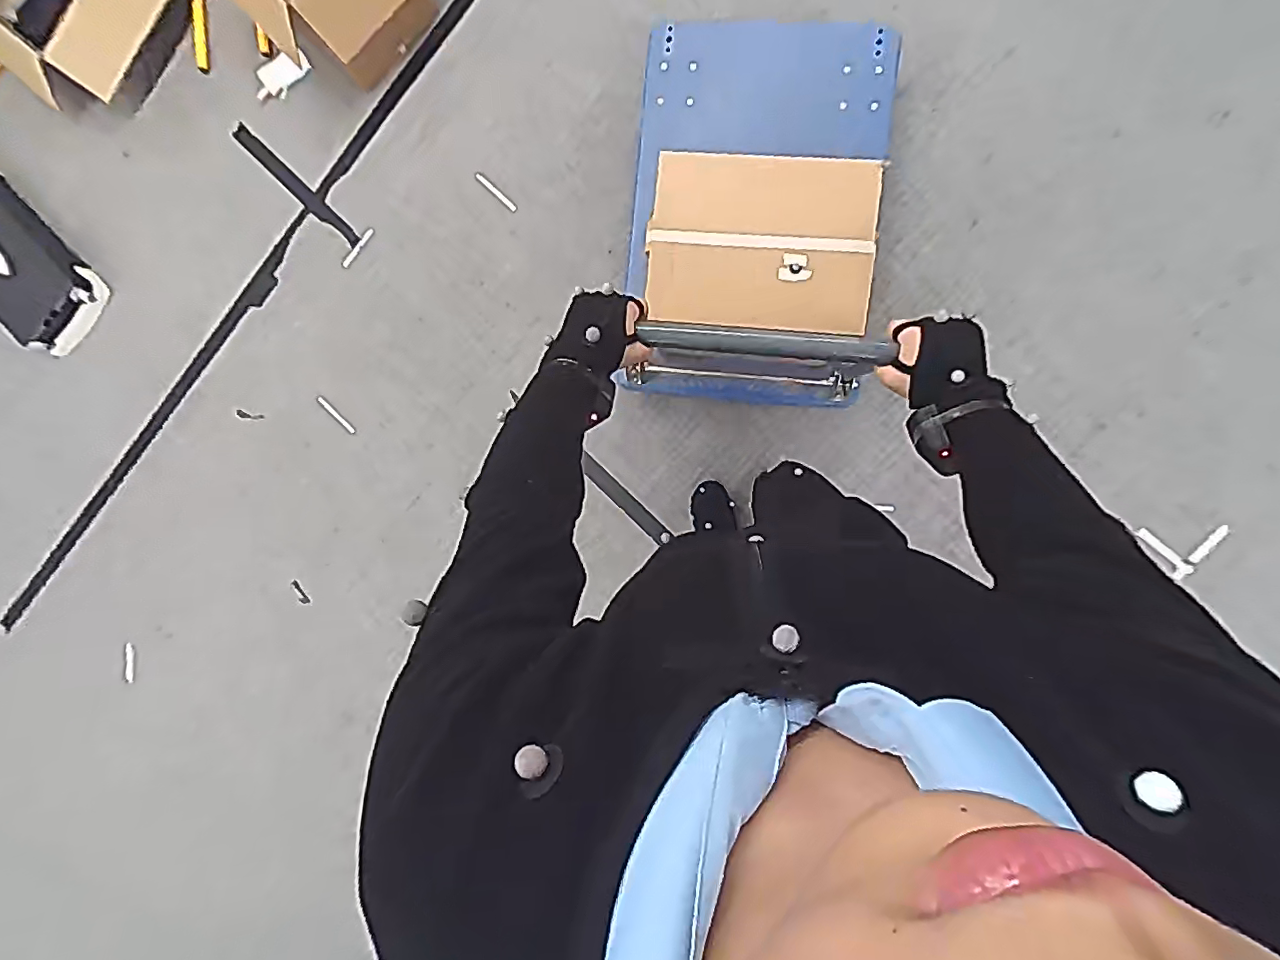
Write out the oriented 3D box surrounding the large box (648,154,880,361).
[{"bbox_3d":[0.235,-0.441,1.140,0.408,0.320,0.320,6,93,5],"label":"large box"}]
